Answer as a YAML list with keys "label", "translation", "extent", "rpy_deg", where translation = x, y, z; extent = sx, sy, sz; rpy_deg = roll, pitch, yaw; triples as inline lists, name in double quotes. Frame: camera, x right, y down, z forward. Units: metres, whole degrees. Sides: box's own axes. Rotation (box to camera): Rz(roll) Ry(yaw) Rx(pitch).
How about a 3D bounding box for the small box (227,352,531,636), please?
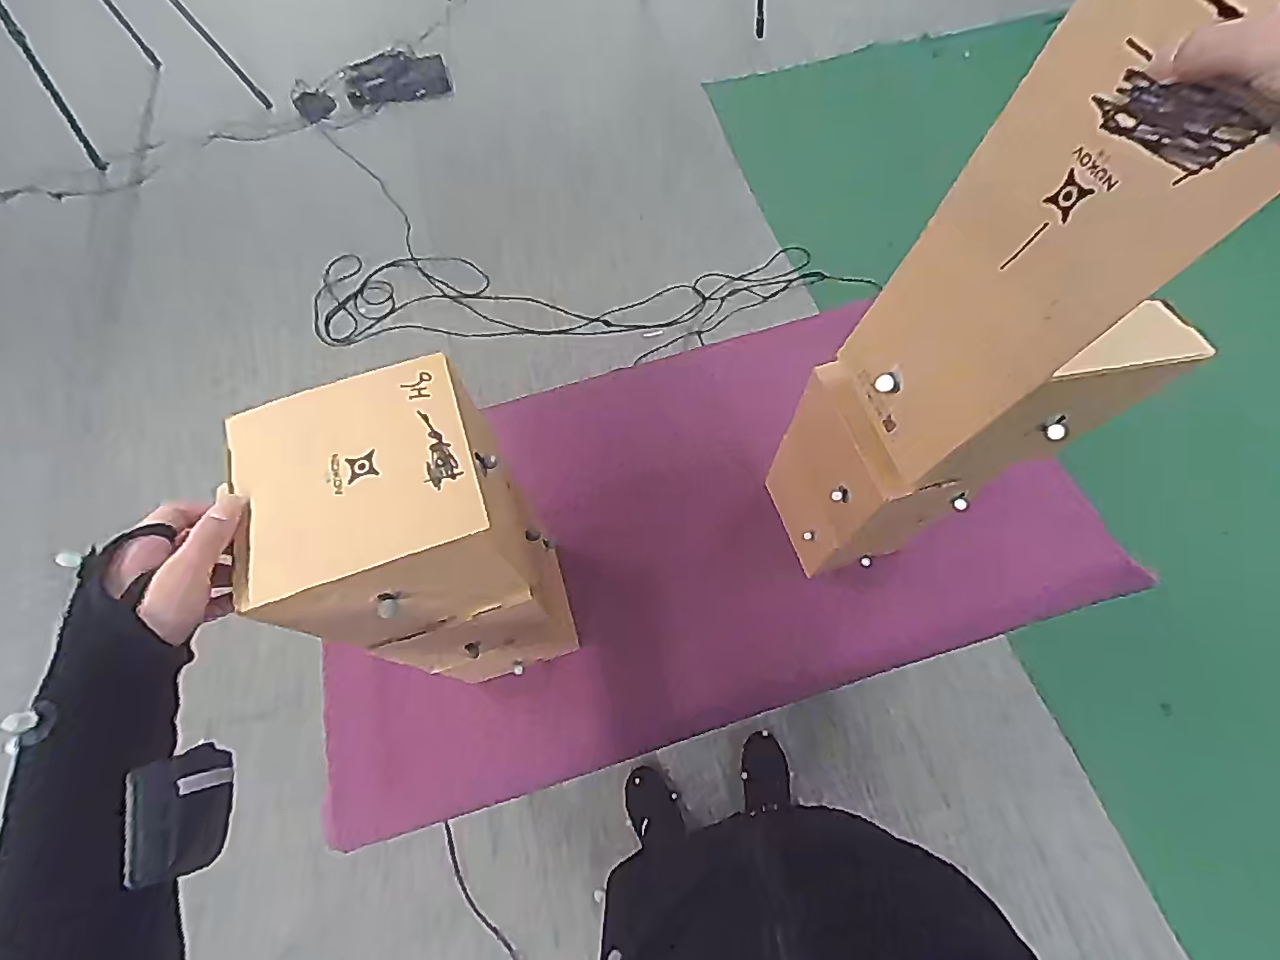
- label: "small box"
  translation: [-0.215, 0.024, 0.476]
  extent: [0.179, 0.176, 0.168]
  rpy_deg: [-19, 66, -5]

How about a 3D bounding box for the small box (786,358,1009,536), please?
- label: "small box"
  translation: [0.297, -0.045, 0.658]
  extent: [0.168, 0.176, 0.179]
  rpy_deg: [-17, 65, -4]

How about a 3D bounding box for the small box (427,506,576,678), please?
- label: "small box"
  translation: [-0.199, 0.165, 0.770]
  extent: [0.168, 0.176, 0.179]
  rpy_deg: [-17, 65, -4]

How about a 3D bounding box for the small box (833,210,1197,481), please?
- label: "small box"
  translation: [0.315, -0.117, 0.497]
  extent: [0.179, 0.176, 0.168]
  rpy_deg: [-10, 64, -13]

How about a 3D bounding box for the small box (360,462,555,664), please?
- label: "small box"
  translation: [-0.207, 0.095, 0.624]
  extent: [0.168, 0.176, 0.179]
  rpy_deg: [-18, 66, -6]
